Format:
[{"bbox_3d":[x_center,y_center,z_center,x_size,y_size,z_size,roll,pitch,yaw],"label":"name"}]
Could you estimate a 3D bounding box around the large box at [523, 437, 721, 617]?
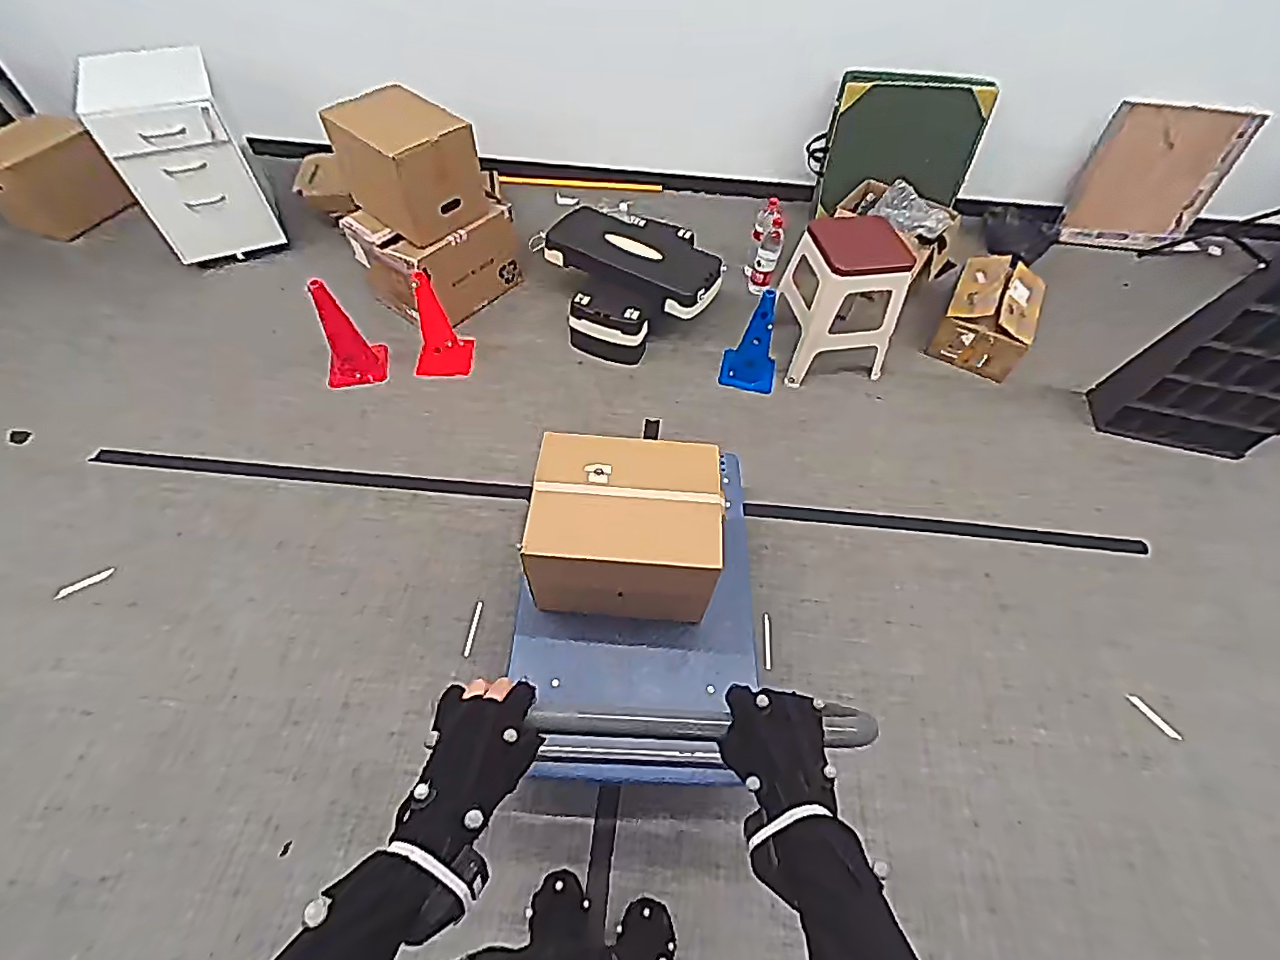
[{"bbox_3d":[-0.031,0.121,1.282,0.408,0.320,0.320,4,56,0],"label":"large box"}]
